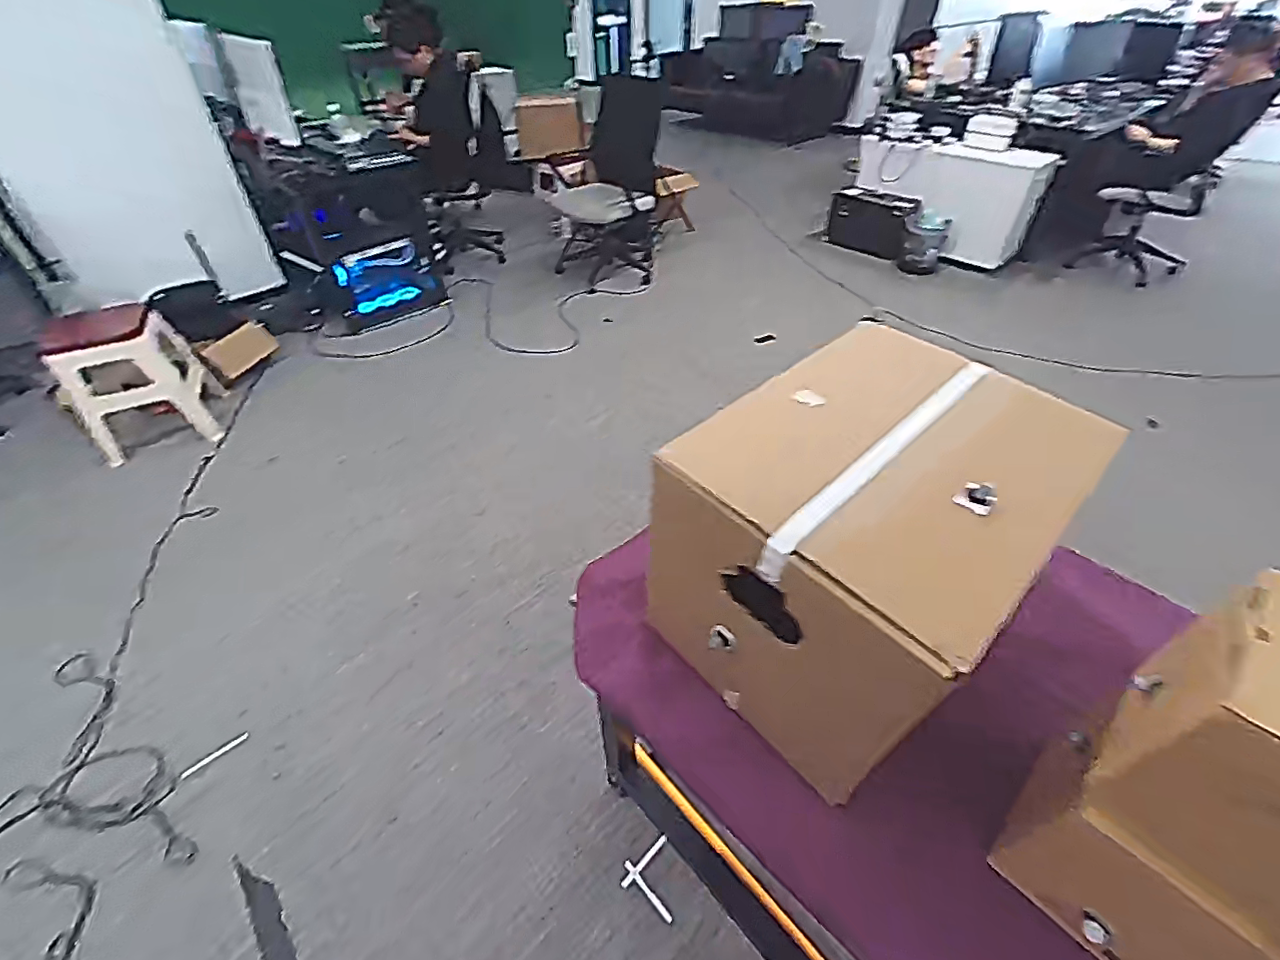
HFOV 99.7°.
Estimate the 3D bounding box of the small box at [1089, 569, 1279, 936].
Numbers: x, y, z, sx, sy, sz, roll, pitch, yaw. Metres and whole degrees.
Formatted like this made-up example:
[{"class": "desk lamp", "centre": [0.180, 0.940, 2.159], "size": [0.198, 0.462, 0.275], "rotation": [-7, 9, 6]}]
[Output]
[{"class": "small box", "centre": [0.479, 0.204, 0.379], "size": [0.168, 0.176, 0.179], "rotation": [-32, 50, -29]}]
